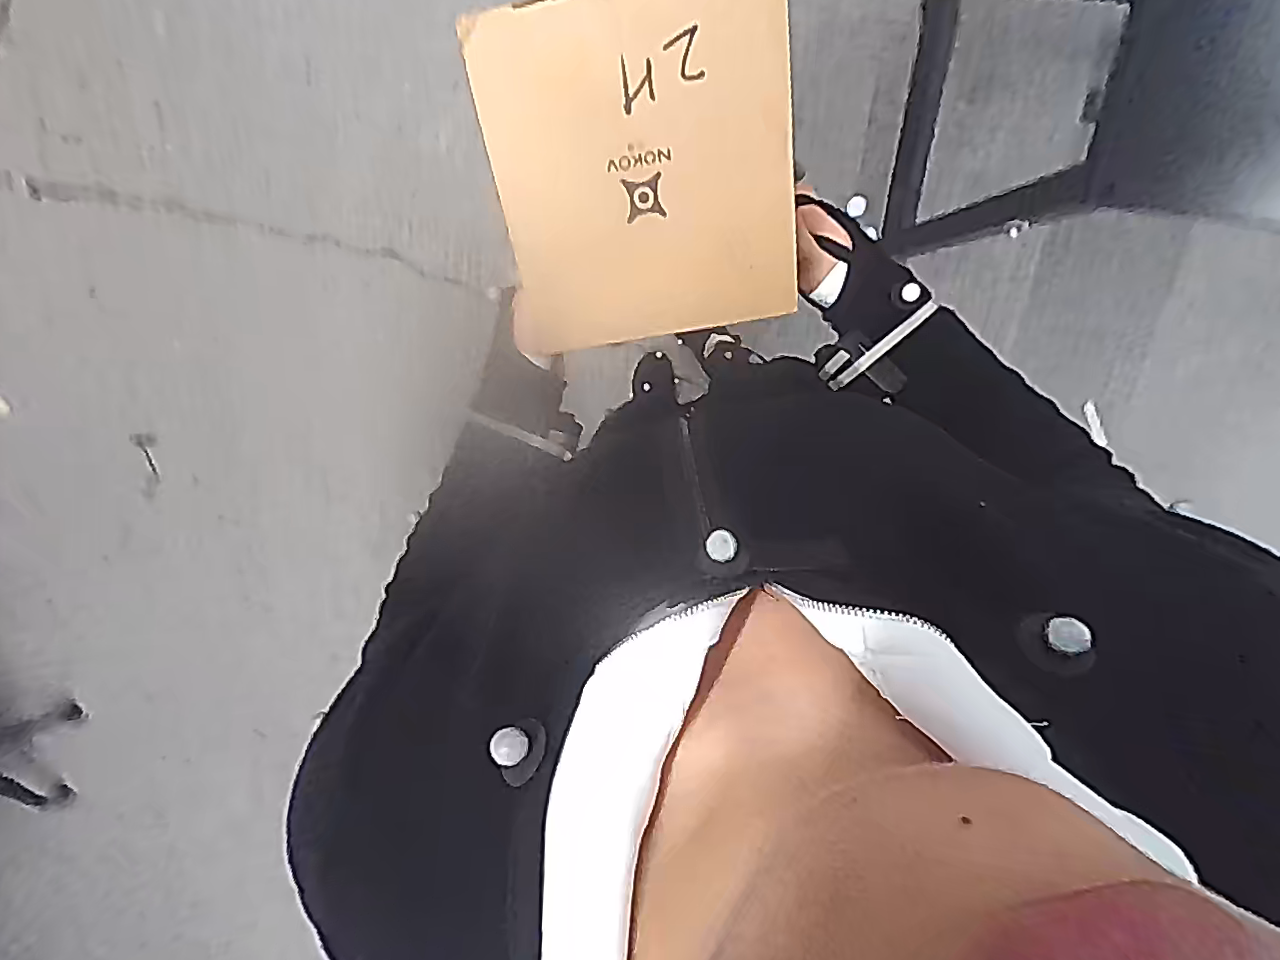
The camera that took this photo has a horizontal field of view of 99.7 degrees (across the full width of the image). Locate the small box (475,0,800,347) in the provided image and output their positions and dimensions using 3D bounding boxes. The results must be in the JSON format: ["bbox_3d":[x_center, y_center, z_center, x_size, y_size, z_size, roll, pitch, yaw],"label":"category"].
[{"bbox_3d":[0.011,-0.207,0.375,0.168,0.176,0.179,-7,117,6],"label":"small box"}]
